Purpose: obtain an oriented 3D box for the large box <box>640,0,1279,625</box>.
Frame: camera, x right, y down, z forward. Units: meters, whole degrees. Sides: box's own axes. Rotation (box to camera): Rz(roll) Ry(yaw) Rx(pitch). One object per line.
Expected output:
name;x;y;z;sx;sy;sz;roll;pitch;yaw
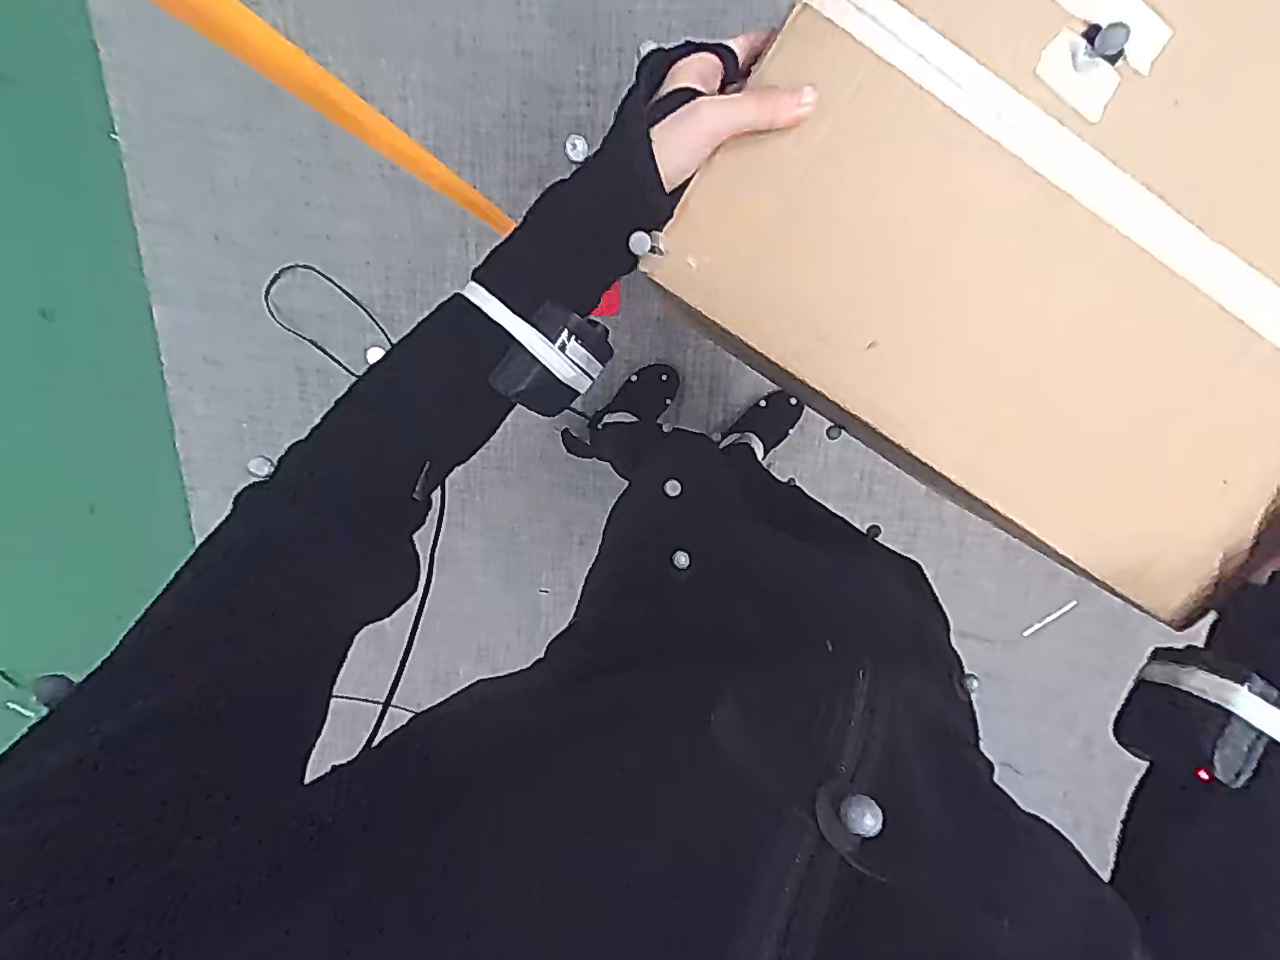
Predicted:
large box;0.260;-0.165;0.443;0.408;0.320;0.320;33;104;-4
